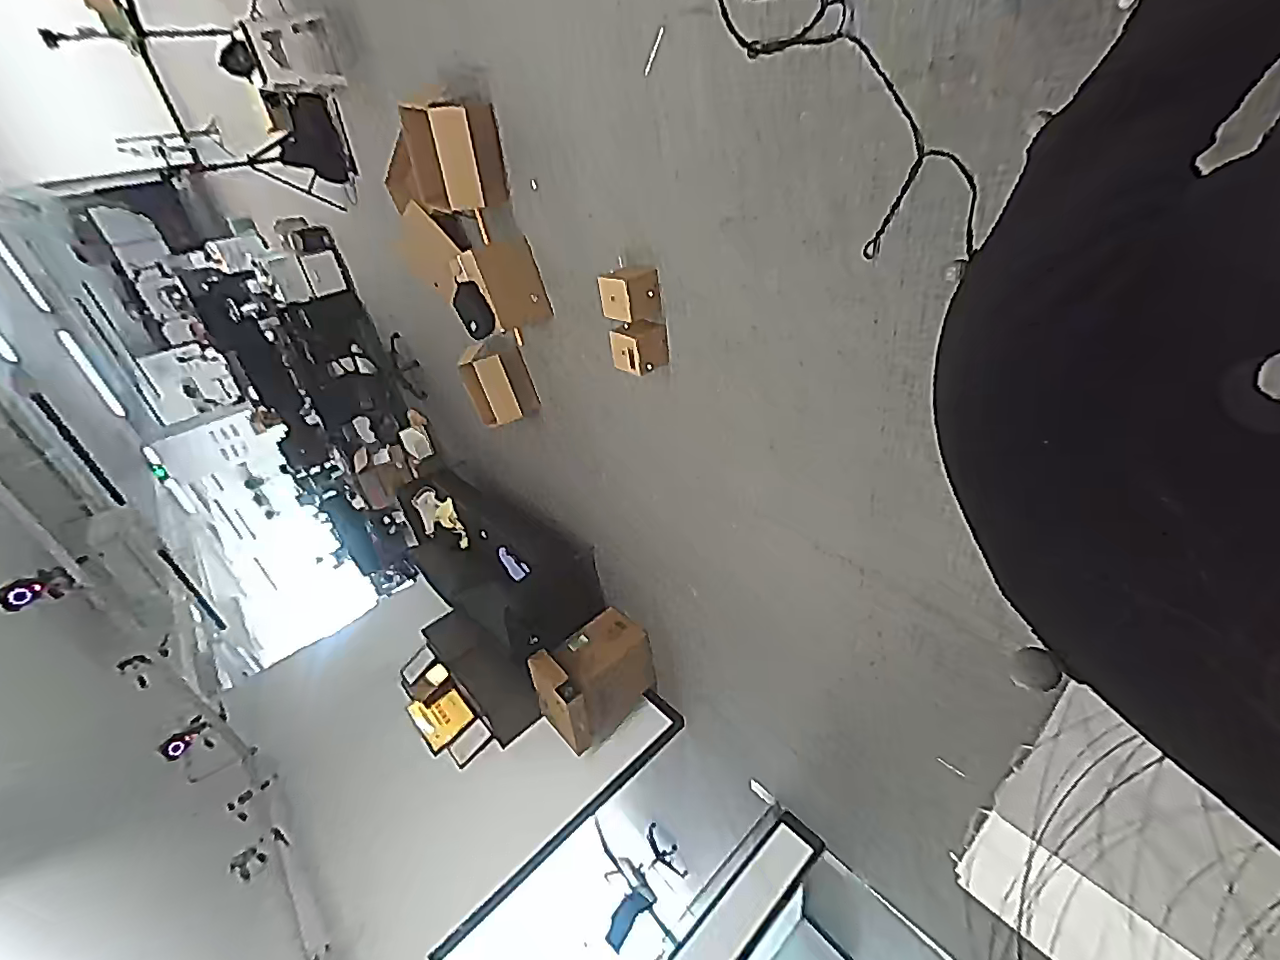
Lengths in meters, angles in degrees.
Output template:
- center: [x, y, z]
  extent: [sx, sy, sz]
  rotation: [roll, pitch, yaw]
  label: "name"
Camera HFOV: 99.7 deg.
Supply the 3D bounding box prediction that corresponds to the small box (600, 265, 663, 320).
- center: [-0.032, -0.759, 2.174]
  extent: [0.179, 0.176, 0.168]
  rotation: [27, 138, 42]
  label: "small box"
